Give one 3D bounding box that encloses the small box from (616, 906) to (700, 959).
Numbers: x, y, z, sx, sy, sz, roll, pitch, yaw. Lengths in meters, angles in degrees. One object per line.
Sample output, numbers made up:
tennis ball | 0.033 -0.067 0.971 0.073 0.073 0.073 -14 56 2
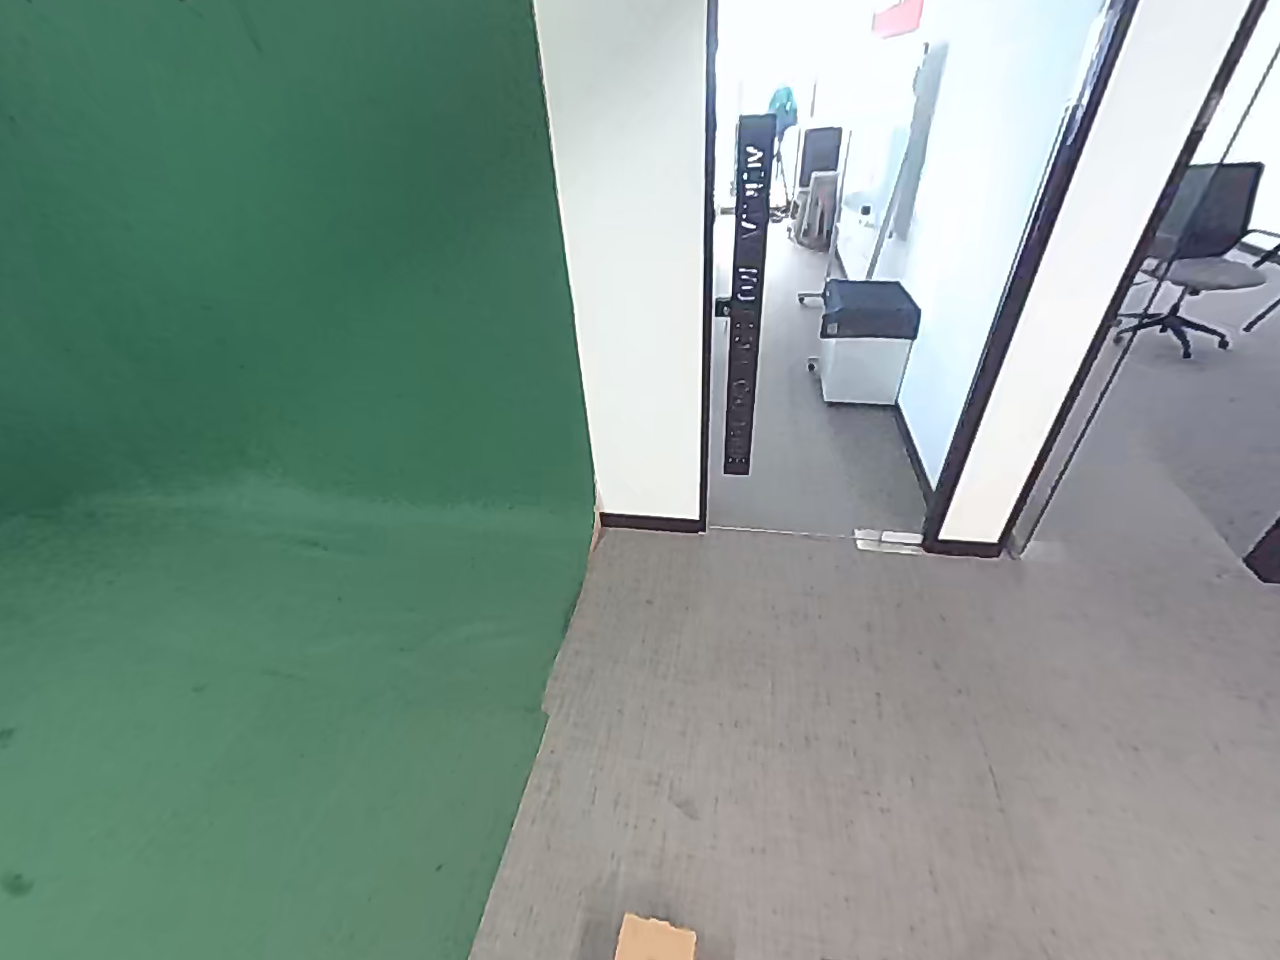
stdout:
small box | 0.035 1.075 1.172 0.168 0.176 0.179 5 38 14
